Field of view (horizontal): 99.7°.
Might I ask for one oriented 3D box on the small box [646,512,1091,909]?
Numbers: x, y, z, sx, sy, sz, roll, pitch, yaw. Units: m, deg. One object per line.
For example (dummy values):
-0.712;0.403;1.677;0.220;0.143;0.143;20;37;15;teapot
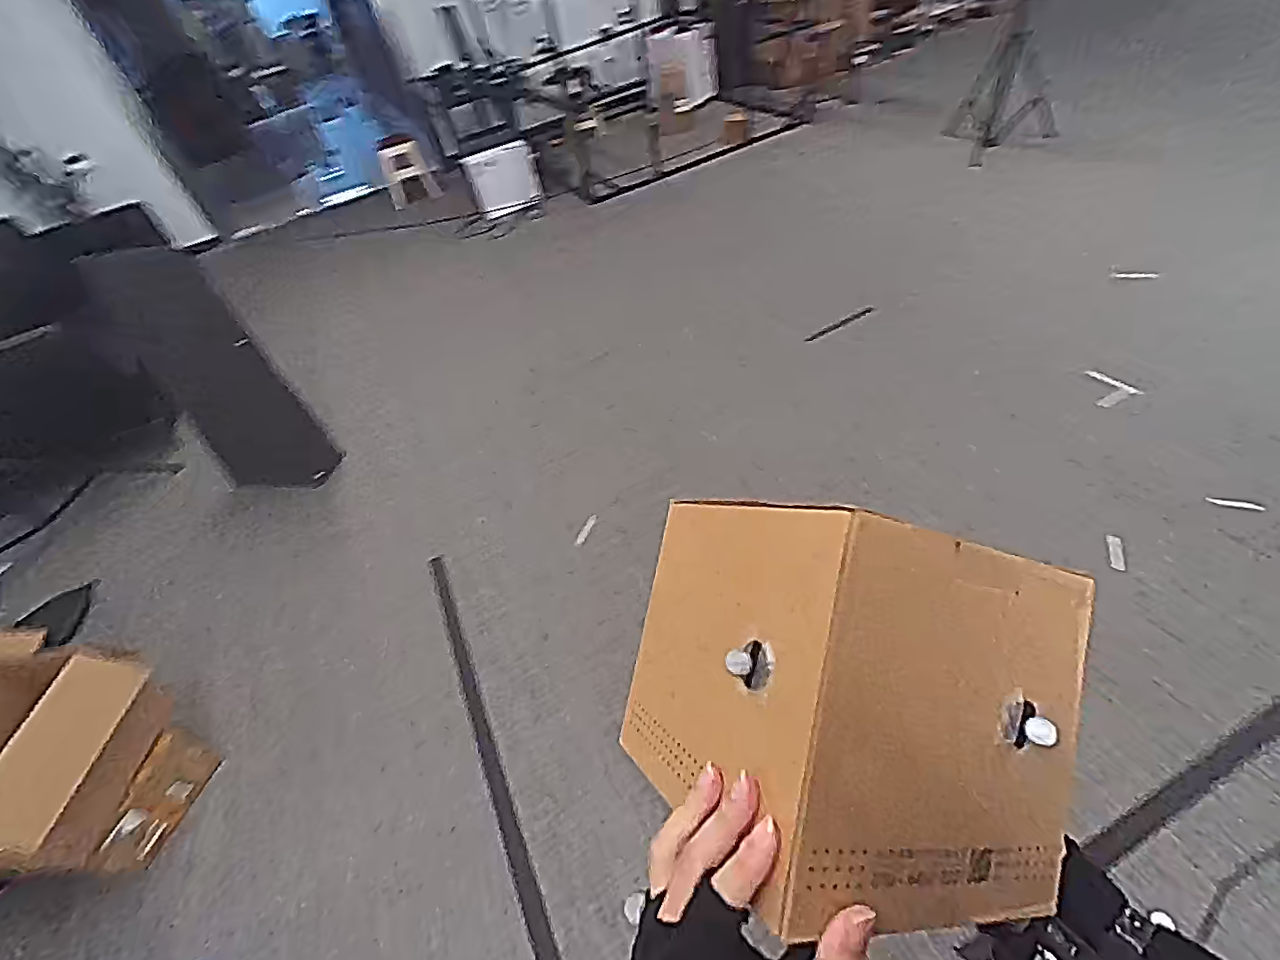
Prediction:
0.119;0.121;0.330;0.168;0.179;0.176;15;84;-19;small box
